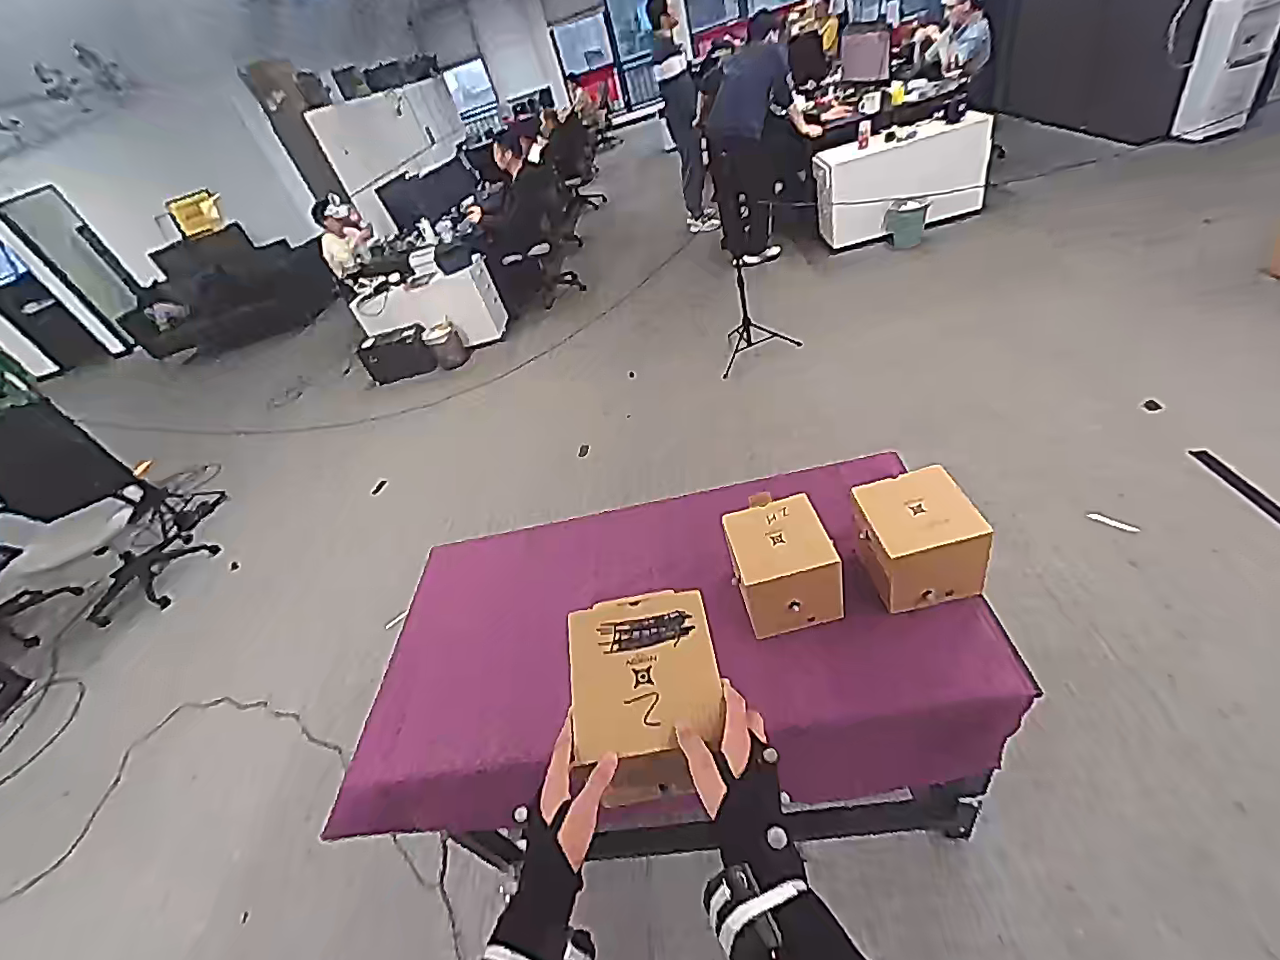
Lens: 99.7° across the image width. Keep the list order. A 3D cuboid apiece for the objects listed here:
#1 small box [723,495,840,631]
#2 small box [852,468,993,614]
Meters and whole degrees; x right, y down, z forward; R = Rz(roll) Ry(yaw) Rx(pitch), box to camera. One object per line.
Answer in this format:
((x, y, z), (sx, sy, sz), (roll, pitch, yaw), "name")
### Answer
((0.266, 0.162, 1.013), (0.168, 0.176, 0.179), (-16, 39, 5), "small box")
((0.497, 0.111, 0.976), (0.168, 0.176, 0.179), (-16, 38, 7), "small box")
